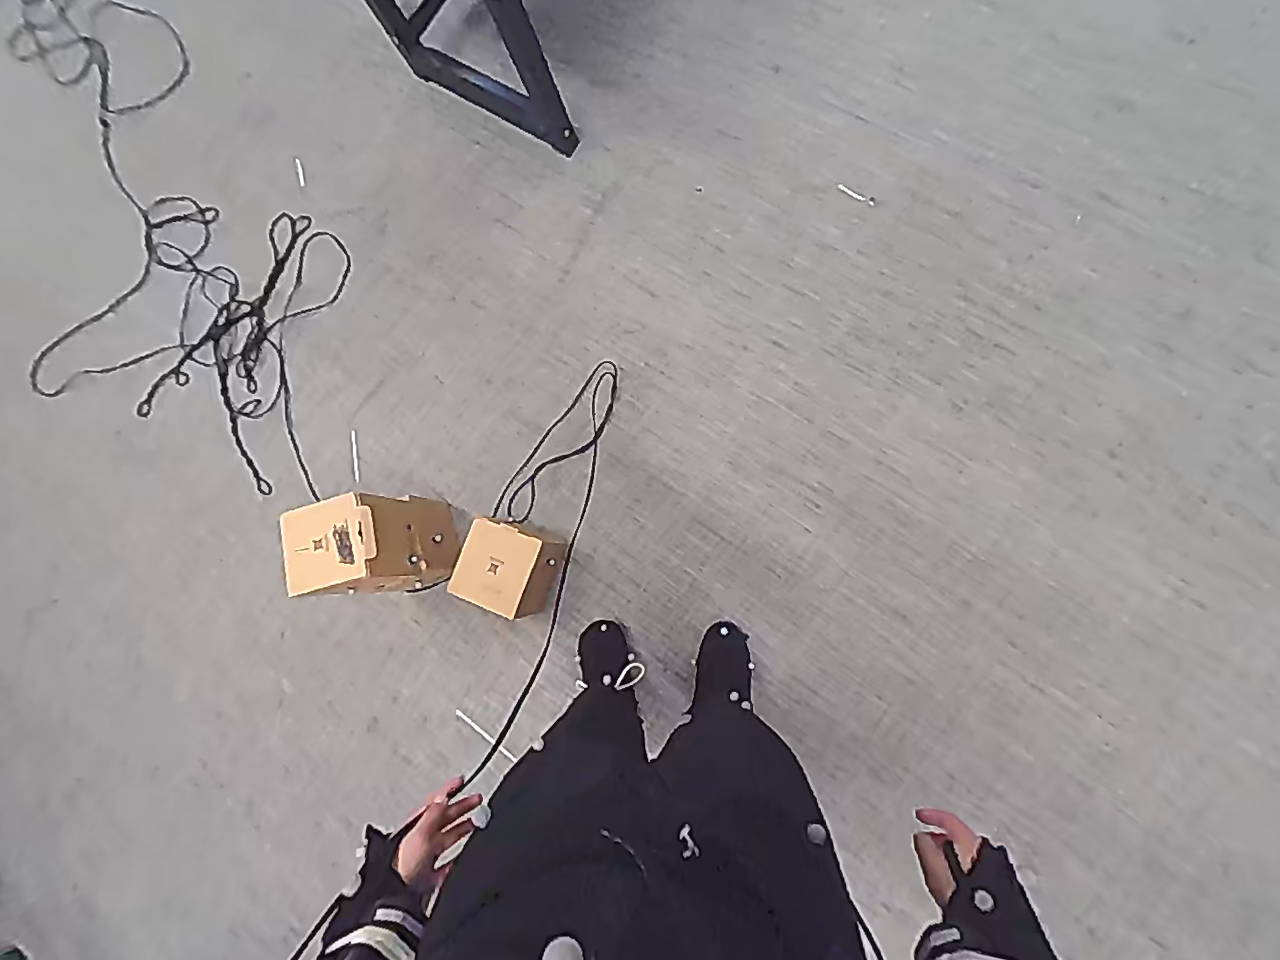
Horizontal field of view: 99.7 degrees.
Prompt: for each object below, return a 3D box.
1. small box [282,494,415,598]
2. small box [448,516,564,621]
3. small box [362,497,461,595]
[{"bbox_3d":[-0.578,0.135,1.095,0.179,0.176,0.168,-15,78,9],"label":"small box"},{"bbox_3d":[-0.287,0.193,1.203,0.168,0.176,0.179,19,86,14],"label":"small box"},{"bbox_3d":[-0.537,0.153,1.255,0.168,0.176,0.179,-20,78,8],"label":"small box"}]
